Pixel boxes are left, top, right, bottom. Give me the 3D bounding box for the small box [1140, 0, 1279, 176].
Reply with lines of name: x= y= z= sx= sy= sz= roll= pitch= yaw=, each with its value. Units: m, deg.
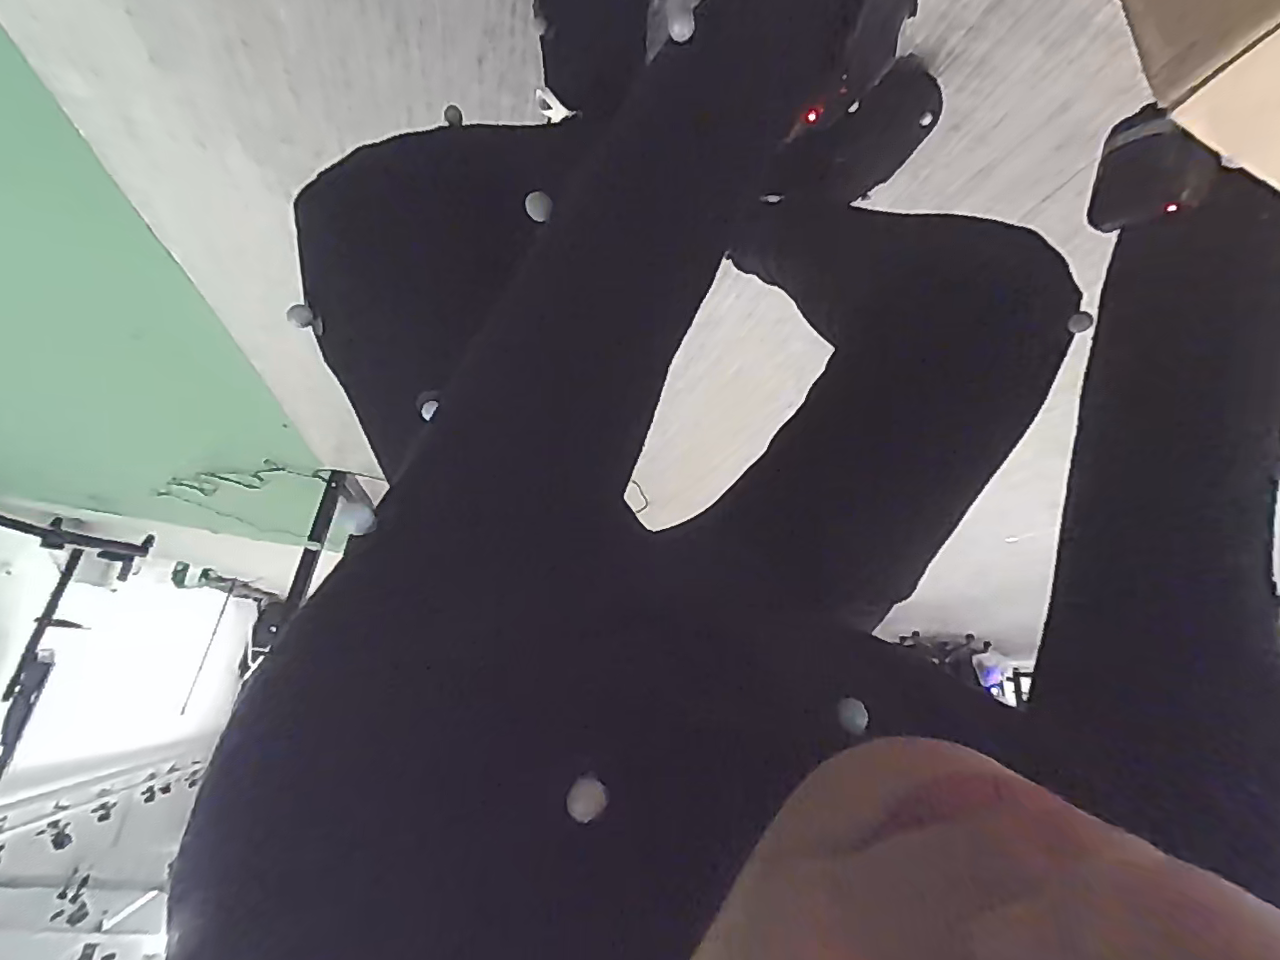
small box: x=0.270 y=-0.201 z=0.147 sx=0.179 sy=0.176 sz=0.168 roll=13 pitch=160 yaw=-17
